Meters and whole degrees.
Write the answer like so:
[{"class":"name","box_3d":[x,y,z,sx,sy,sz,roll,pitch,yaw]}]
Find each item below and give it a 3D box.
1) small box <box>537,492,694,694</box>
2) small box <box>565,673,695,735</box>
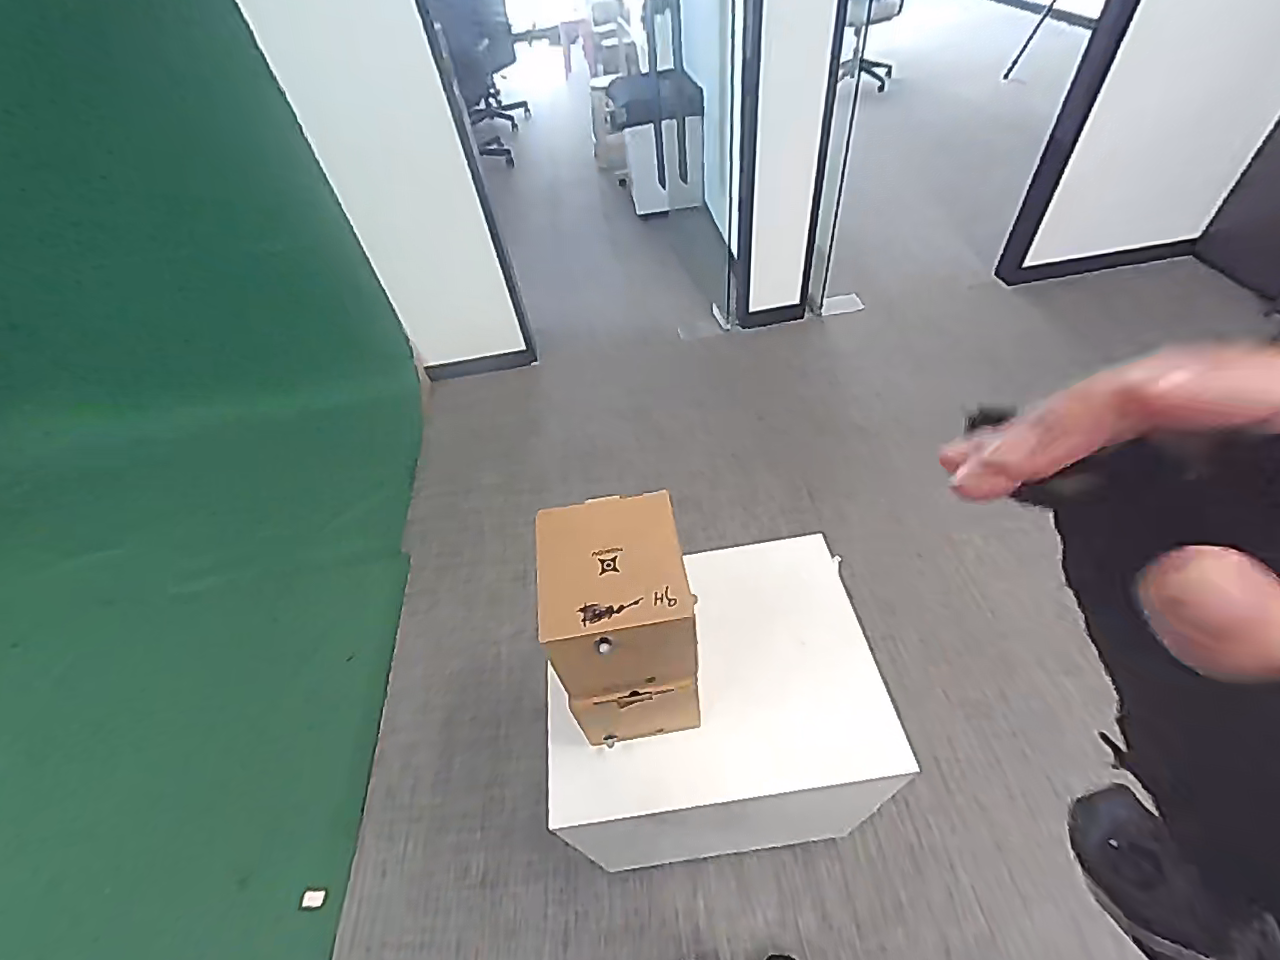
[{"class":"small box","box_3d":[-0.029,0.143,0.678,0.168,0.176,0.179,-10,48,0]},{"class":"small box","box_3d":[-0.014,0.257,0.794,0.168,0.176,0.179,-9,48,-1]}]
